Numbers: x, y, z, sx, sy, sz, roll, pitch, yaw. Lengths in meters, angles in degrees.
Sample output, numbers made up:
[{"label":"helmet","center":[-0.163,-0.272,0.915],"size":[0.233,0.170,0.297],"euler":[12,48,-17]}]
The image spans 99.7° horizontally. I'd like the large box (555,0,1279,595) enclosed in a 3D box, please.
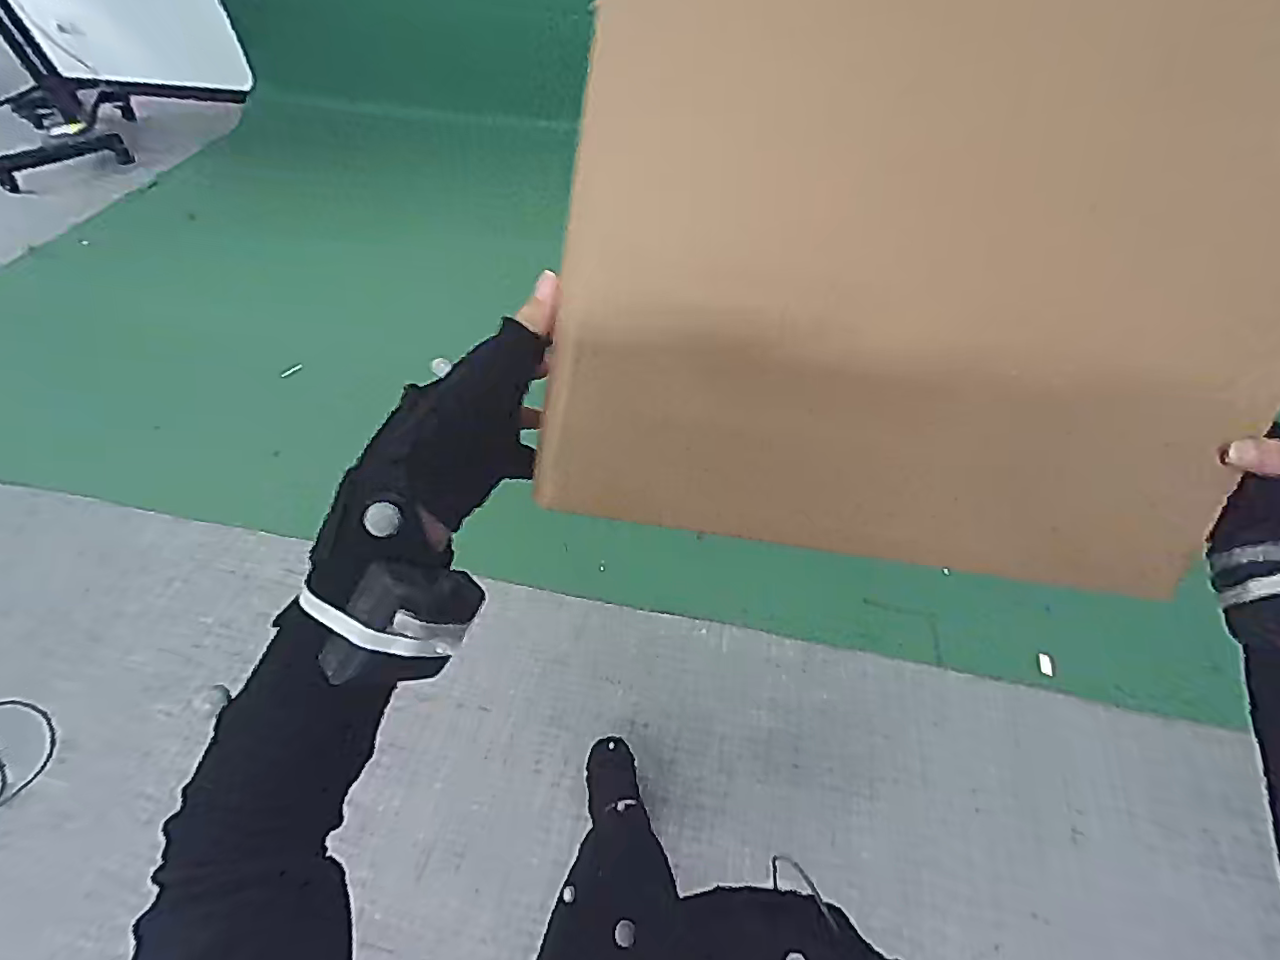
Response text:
[{"label":"large box","center":[0.159,-0.141,0.417],"size":[0.408,0.320,0.320],"euler":[10,19,-9]}]
